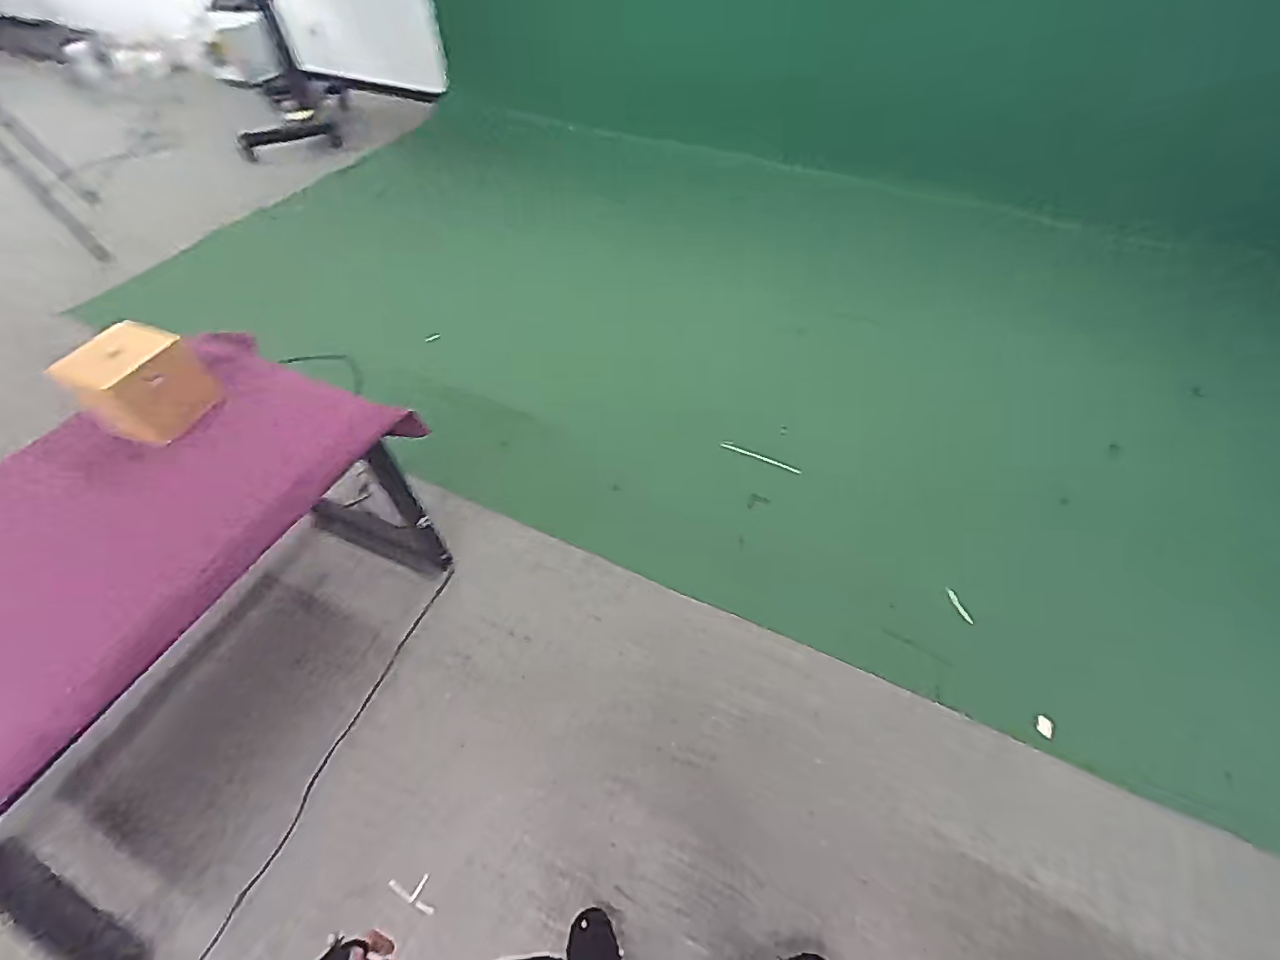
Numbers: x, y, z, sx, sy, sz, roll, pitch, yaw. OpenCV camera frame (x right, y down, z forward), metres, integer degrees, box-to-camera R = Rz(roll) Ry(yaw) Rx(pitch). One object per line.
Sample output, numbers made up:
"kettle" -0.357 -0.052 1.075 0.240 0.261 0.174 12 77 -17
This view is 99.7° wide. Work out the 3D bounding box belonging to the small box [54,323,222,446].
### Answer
"small box" -1.063 -0.206 1.170 0.168 0.176 0.179 17 56 12
